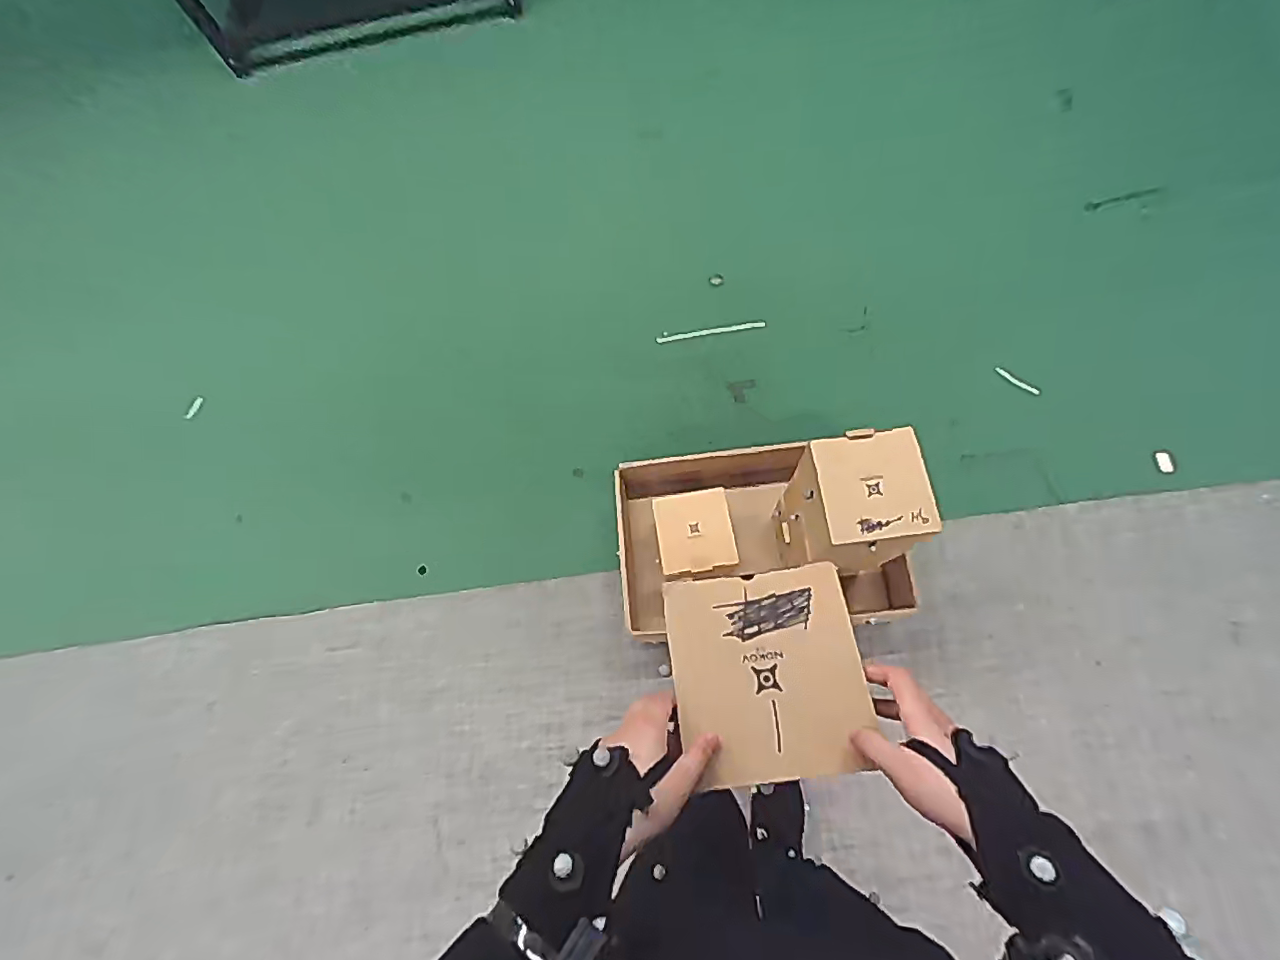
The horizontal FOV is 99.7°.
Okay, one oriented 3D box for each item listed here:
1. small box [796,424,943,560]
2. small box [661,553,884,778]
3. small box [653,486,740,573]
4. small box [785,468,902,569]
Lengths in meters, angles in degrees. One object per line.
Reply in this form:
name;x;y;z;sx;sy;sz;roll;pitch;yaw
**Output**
small box;0.368;0.028;0.906;0.168;0.176;0.179;-8;70;5
small box;0.113;0.189;0.543;0.168;0.176;0.179;-8;65;2
small box;0.124;0.132;1.247;0.168;0.176;0.179;-11;72;2
small box;0.387;0.078;1.062;0.168;0.176;0.179;-6;73;6
